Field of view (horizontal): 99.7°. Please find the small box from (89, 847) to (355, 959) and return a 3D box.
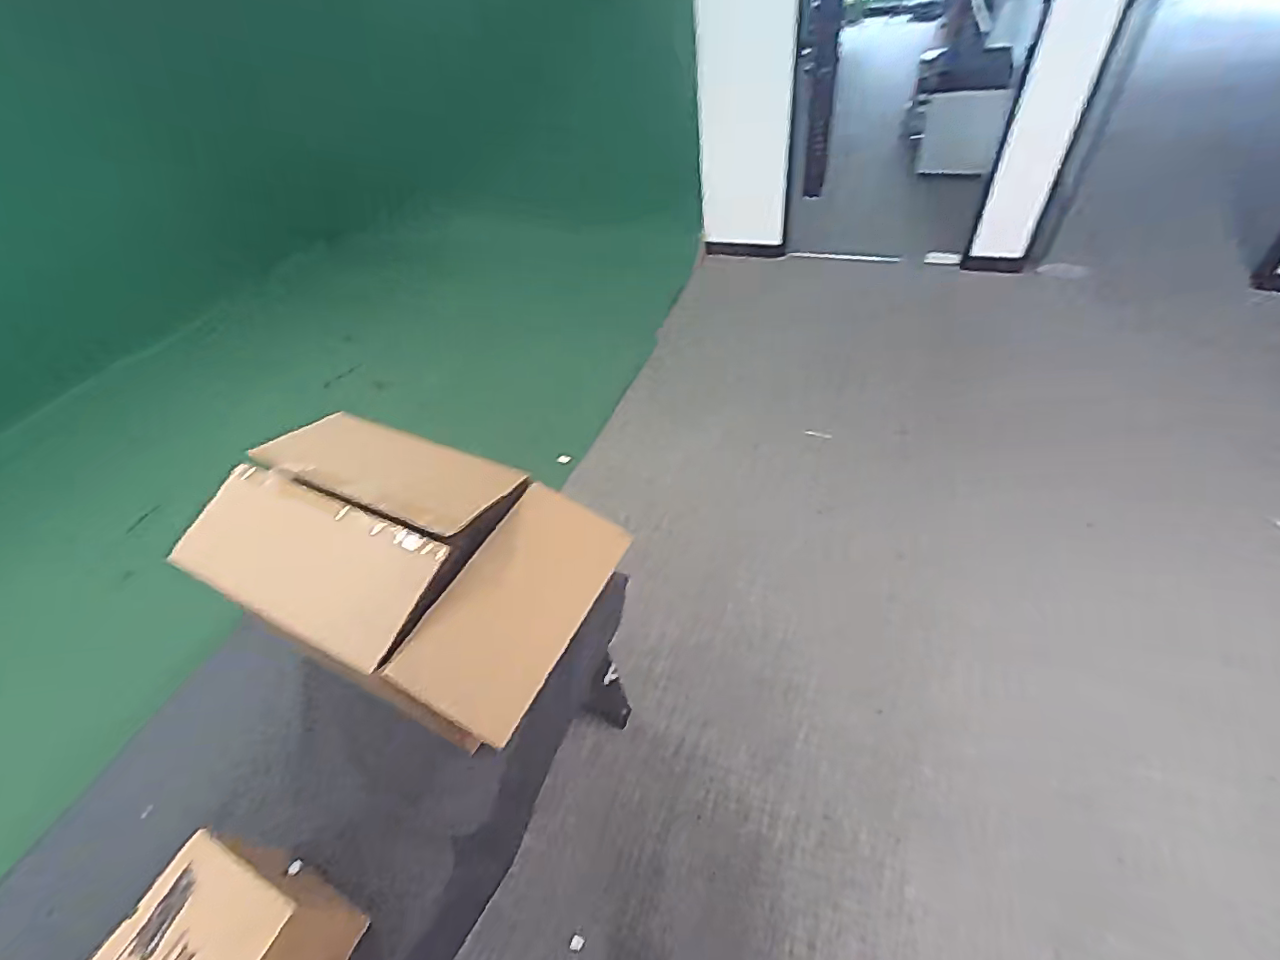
[{"bbox_3d":[-0.466,0.546,0.596,0.179,0.176,0.168,16,54,20],"label":"small box"}]
